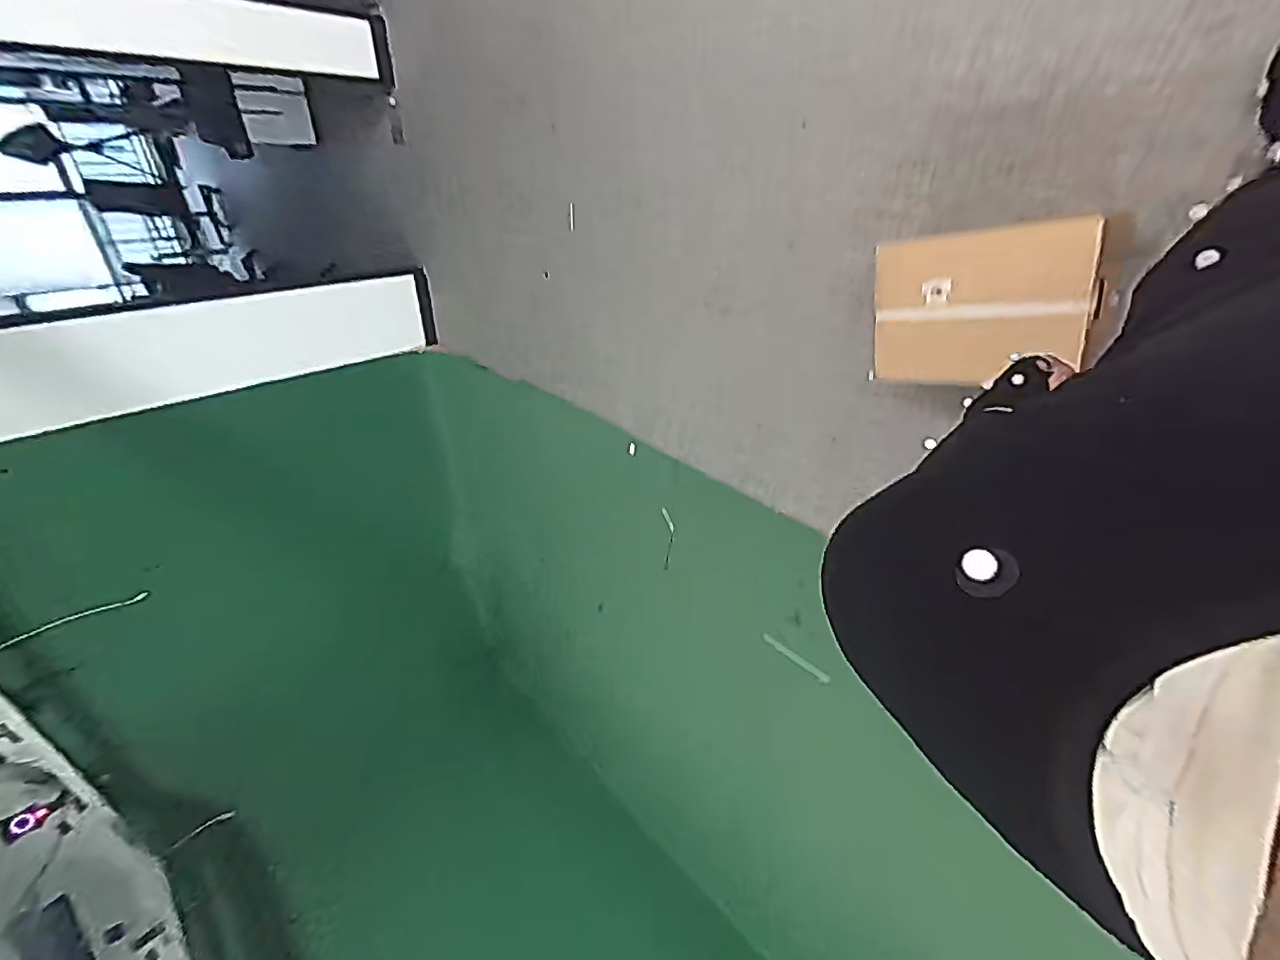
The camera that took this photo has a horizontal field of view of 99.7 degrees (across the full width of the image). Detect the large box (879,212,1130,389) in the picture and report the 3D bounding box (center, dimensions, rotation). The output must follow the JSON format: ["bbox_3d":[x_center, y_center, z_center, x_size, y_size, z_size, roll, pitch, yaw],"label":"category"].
[{"bbox_3d":[0.816,-0.405,1.239,0.408,0.320,0.320,14,120,45],"label":"large box"}]
